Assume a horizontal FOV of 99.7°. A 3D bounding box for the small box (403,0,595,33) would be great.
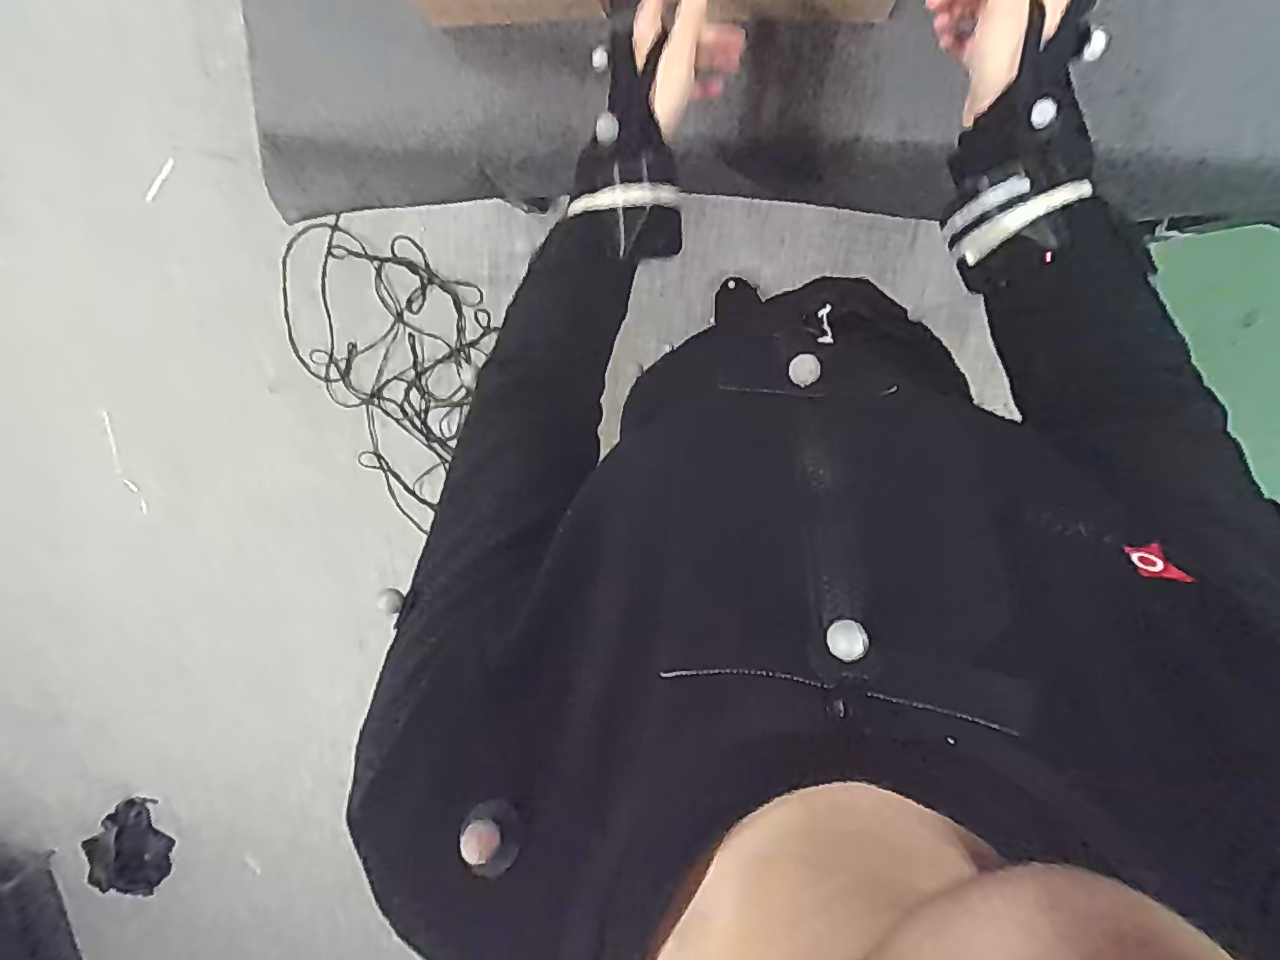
[{"bbox_3d":[-0.125,-0.480,0.410,0.179,0.176,0.168,4,105,9],"label":"small box"}]
